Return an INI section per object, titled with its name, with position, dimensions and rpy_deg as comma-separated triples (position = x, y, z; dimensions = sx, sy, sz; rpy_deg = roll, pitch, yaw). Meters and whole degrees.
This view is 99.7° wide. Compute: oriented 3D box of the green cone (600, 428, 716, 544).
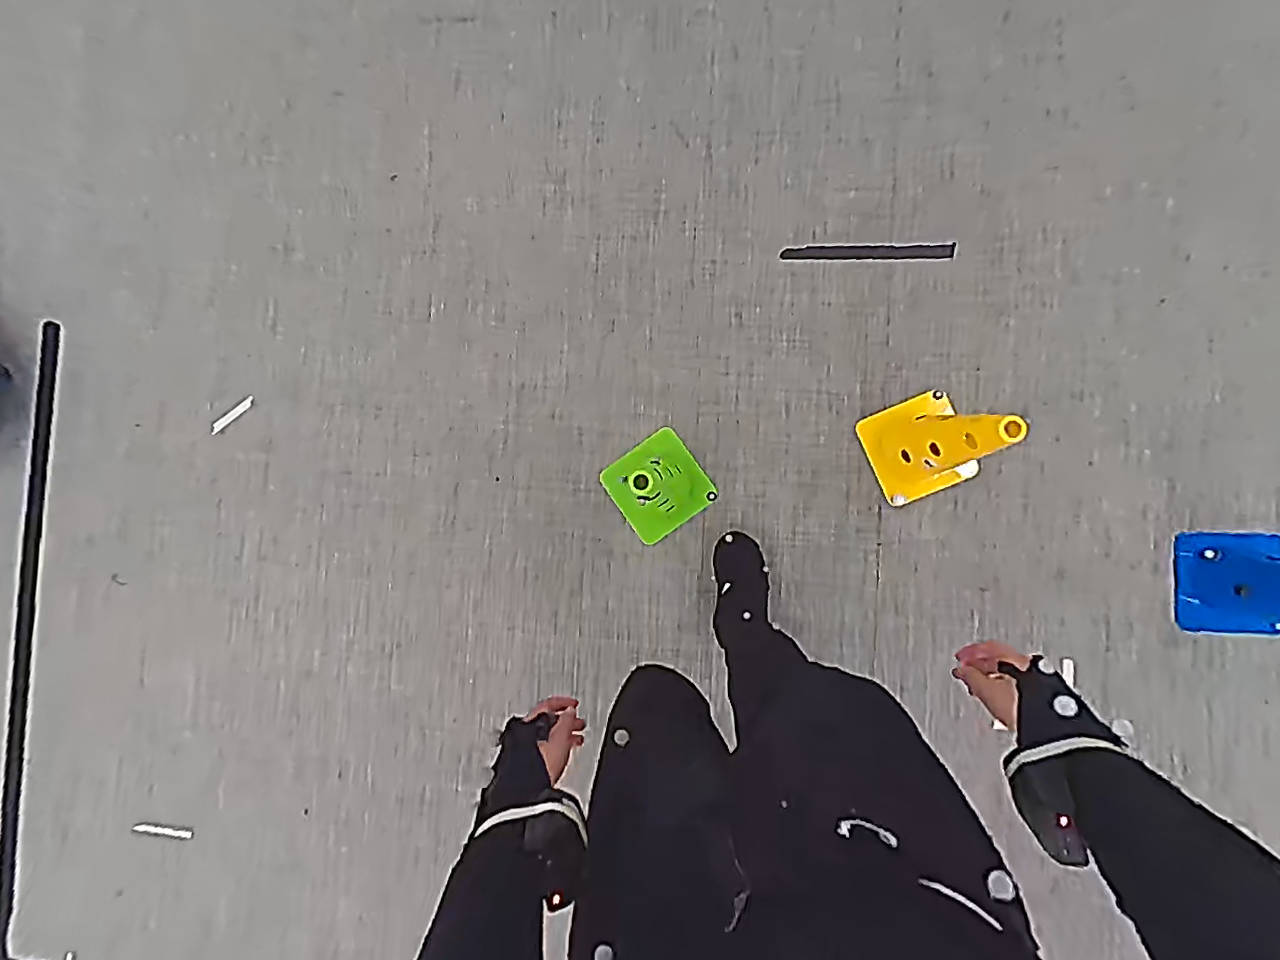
[green cone]
position = 0.017, 0.008, 1.025
dimensions = 0.202, 0.368, 0.200
rpy_deg = -36, 84, 5
